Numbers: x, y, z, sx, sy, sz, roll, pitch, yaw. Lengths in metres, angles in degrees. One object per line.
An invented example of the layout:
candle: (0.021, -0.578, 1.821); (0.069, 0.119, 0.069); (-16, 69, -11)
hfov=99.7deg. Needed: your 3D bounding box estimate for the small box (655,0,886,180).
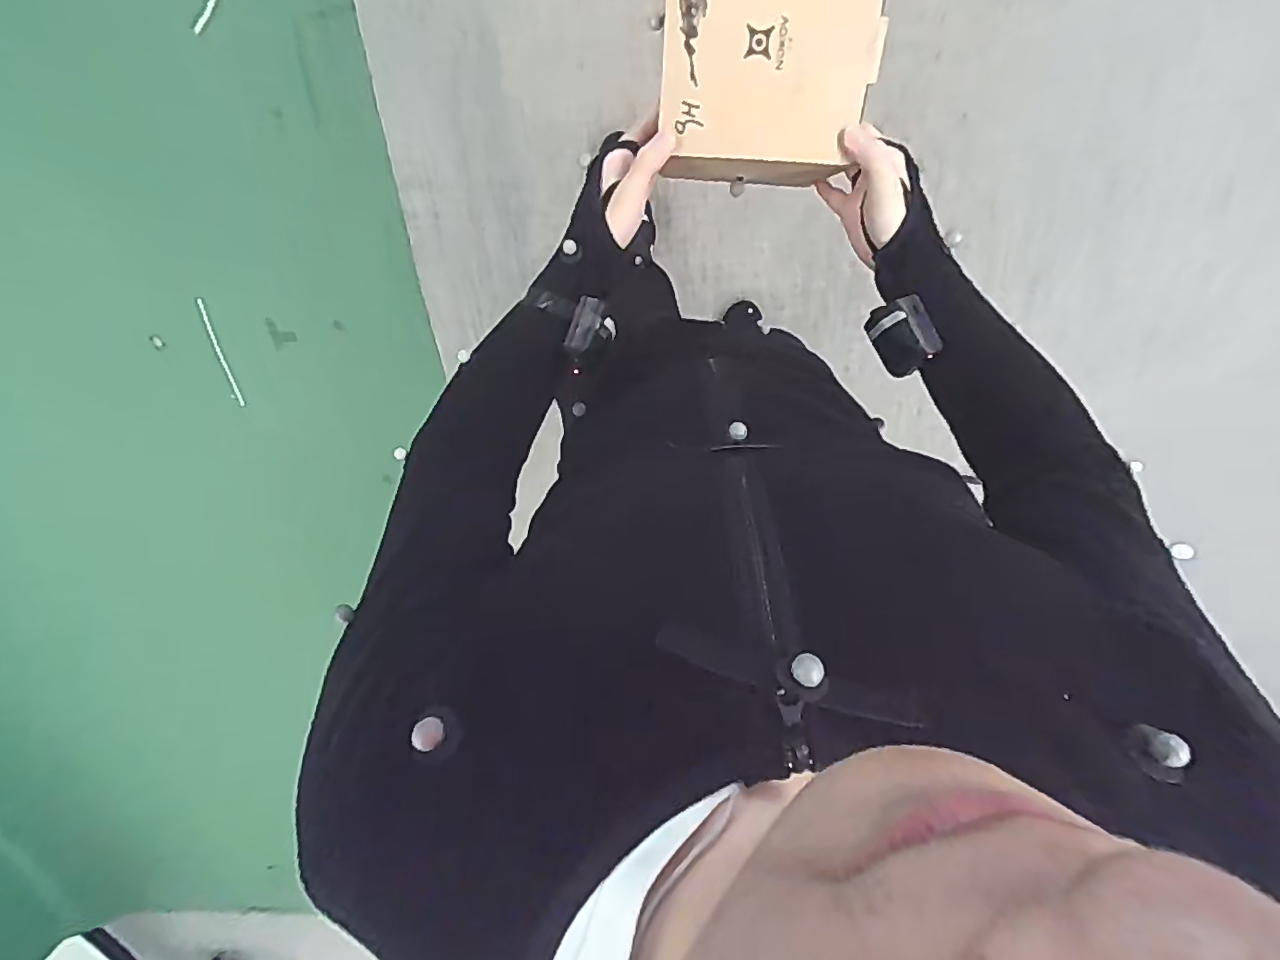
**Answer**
small box: (0.107, -0.387, 0.508); (0.179, 0.176, 0.168); (4, 113, 1)
